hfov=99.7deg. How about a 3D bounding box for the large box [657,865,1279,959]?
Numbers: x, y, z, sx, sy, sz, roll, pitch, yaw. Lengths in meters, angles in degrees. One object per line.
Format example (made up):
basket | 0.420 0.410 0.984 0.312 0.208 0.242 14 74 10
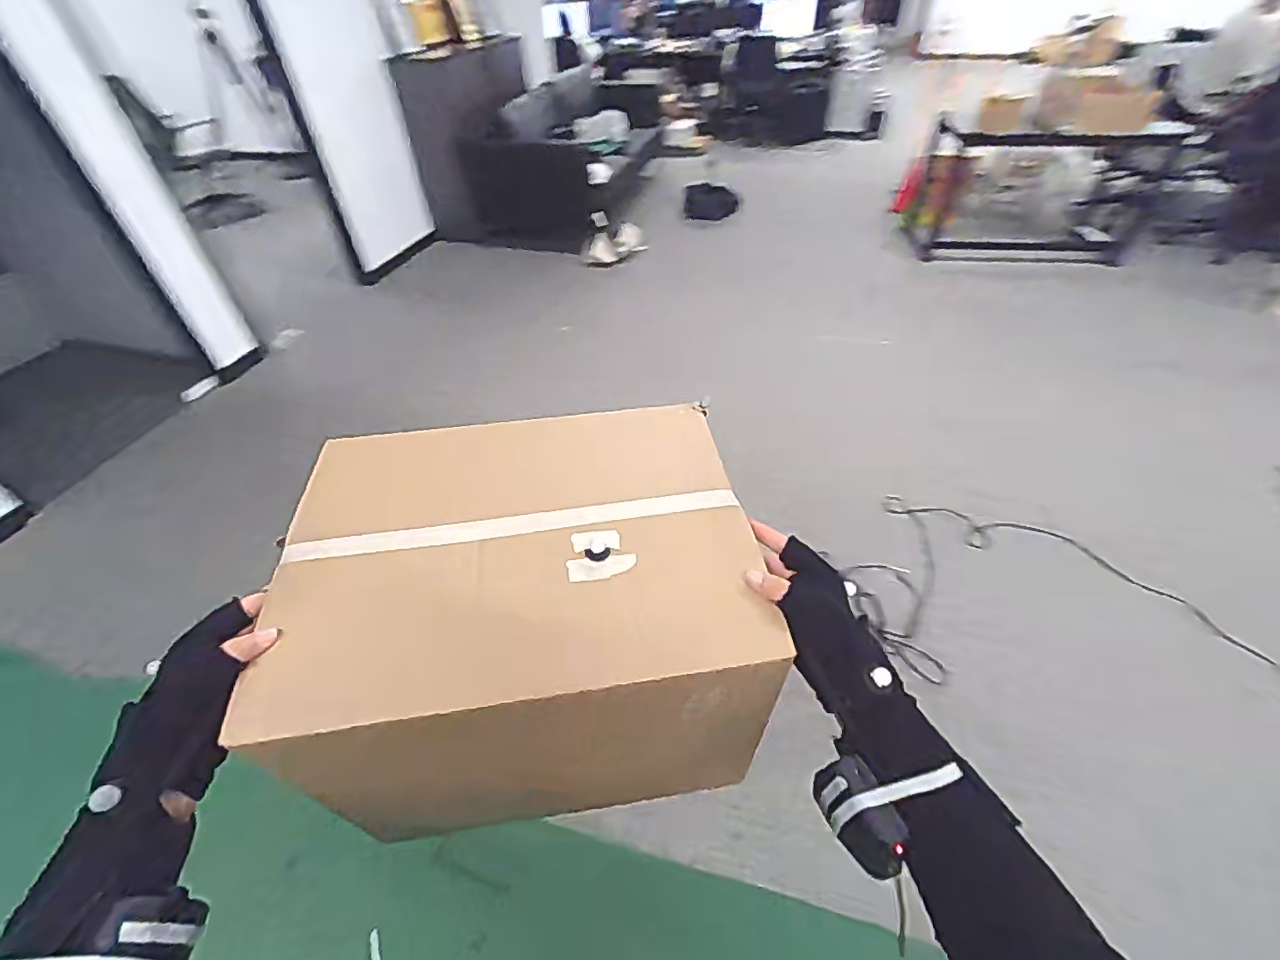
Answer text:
large box | 0.139 0.359 0.081 0.320 0.320 0.408 -26 2 26
